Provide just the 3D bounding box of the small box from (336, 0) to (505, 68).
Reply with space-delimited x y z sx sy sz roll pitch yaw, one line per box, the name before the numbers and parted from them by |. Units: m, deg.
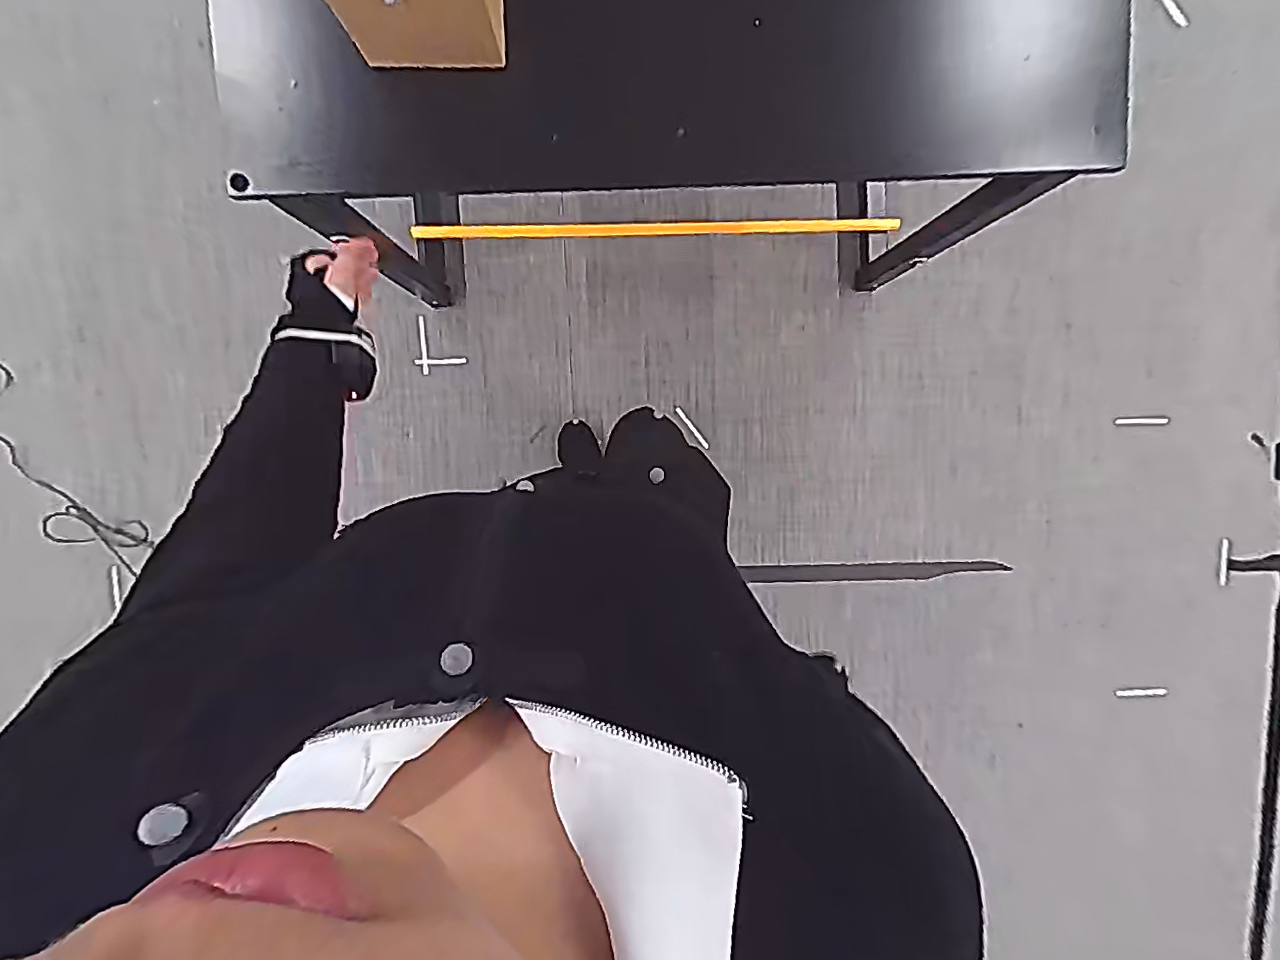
small box | -0.261 -0.611 0.618 0.179 0.176 0.168 -1 95 -3
